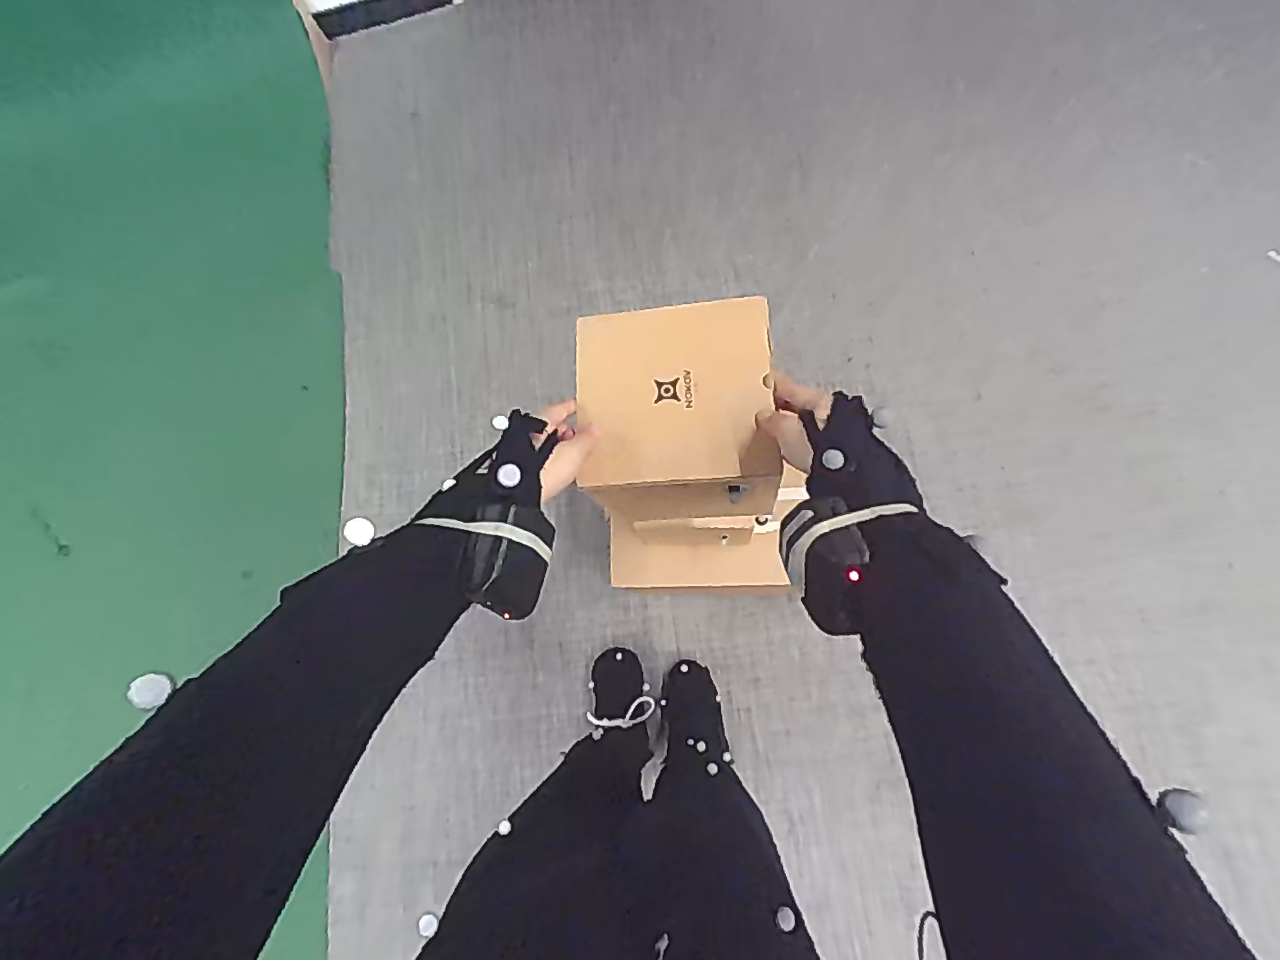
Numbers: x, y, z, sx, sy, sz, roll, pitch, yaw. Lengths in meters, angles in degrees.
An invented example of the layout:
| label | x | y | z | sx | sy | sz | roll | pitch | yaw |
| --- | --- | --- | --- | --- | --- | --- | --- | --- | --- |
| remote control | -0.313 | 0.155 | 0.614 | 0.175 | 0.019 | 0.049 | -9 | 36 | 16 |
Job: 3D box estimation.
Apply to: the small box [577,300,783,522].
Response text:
| label | x | y | z | sx | sy | sz | roll | pitch | yaw |
| --- | --- | --- | --- | --- | --- | --- | --- | --- | --- |
| small box | 0.044 | -0.055 | 0.547 | 0.179 | 0.176 | 0.168 | -4 | 74 | 9 |

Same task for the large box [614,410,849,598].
| label | x | y | z | sx | sy | sz | roll | pitch | yaw |
| --- | --- | --- | --- | --- | --- | --- | --- | --- | --- |
| large box | 0.165 | 0.070 | 1.100 | 0.408 | 0.320 | 0.320 | -3 | 76 | 7 |

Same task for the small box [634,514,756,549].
| label | x | y | z | sx | sy | sz | roll | pitch | yaw |
| --- | --- | --- | --- | --- | --- | --- | --- | --- | --- |
| small box | 0.089 | 0.017 | 0.871 | 0.179 | 0.176 | 0.168 | -2 | 73 | 8 |
